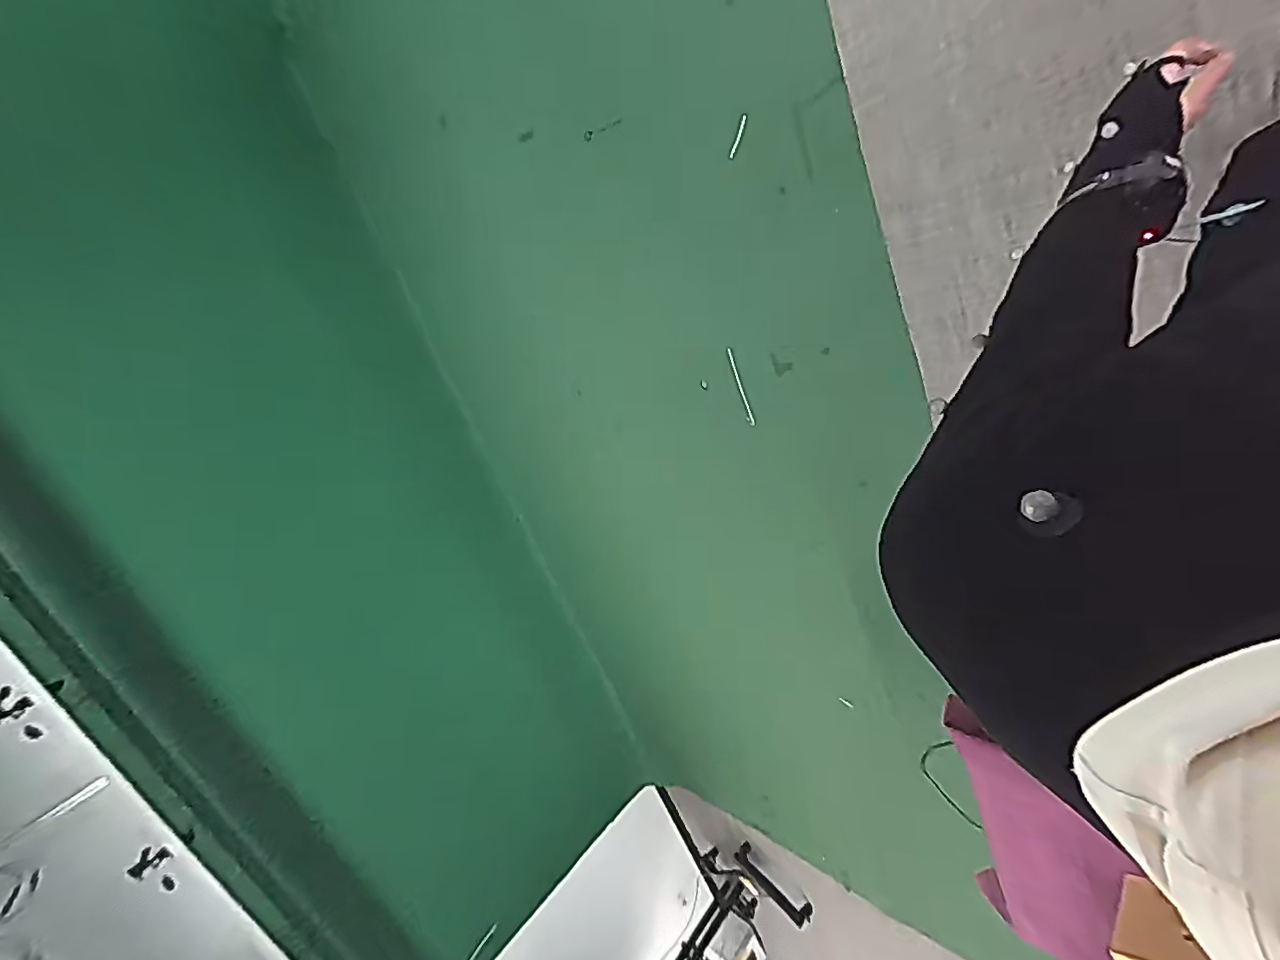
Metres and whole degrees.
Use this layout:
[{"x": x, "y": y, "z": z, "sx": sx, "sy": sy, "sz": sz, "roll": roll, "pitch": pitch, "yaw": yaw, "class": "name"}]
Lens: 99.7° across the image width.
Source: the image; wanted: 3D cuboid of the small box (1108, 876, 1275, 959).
[{"x": 0.985, "y": 0.857, "z": 0.959, "sx": 0.179, "sy": 0.176, "sz": 0.168, "roll": 54, "pitch": 145, "yaw": 1, "class": "small box"}]
